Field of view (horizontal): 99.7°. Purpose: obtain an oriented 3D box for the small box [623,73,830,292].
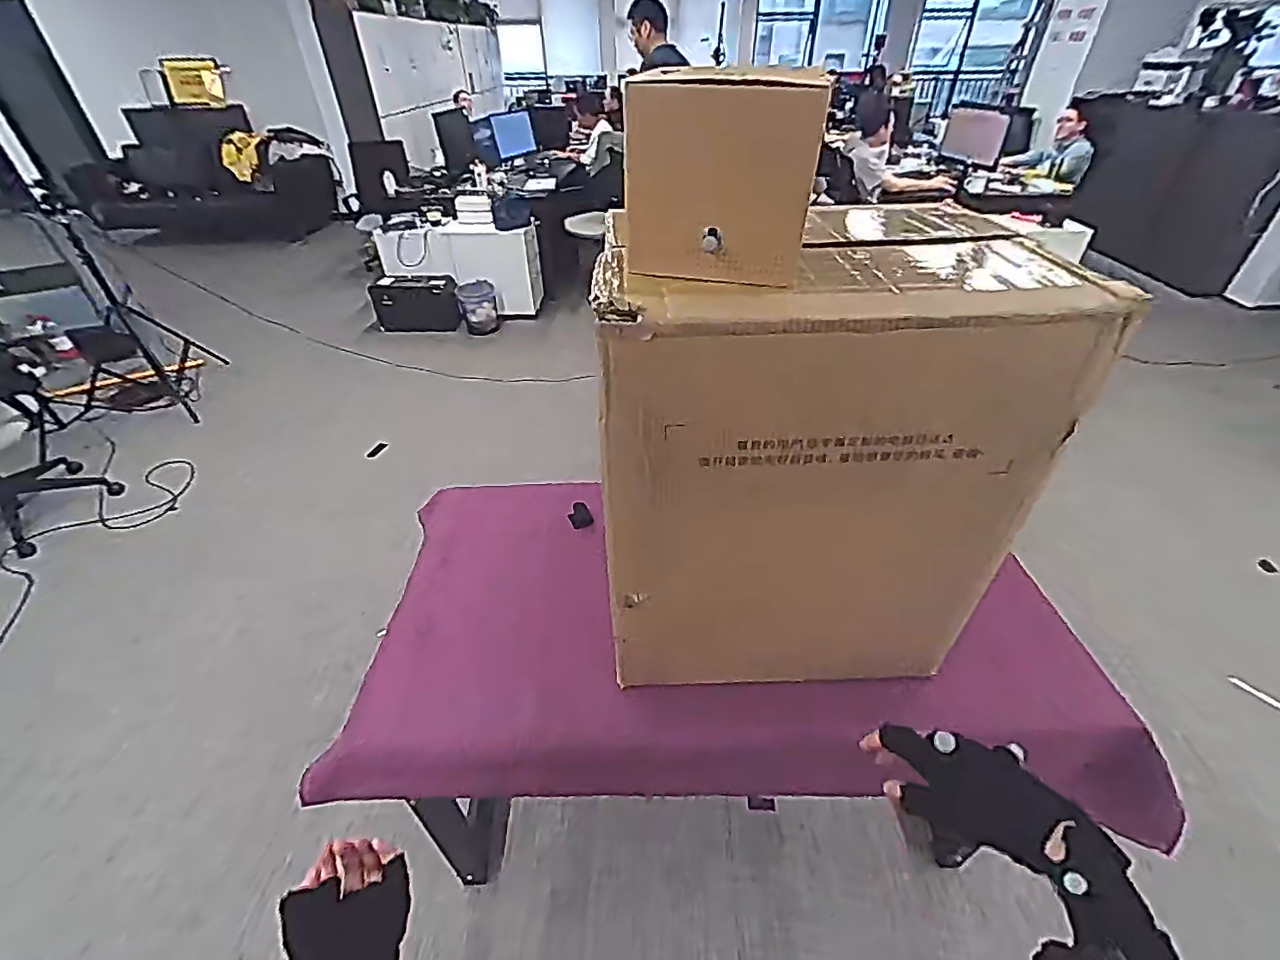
[{"bbox_3d":[0.087,-0.309,0.563,0.179,0.176,0.168,9,41,10],"label":"small box"}]
